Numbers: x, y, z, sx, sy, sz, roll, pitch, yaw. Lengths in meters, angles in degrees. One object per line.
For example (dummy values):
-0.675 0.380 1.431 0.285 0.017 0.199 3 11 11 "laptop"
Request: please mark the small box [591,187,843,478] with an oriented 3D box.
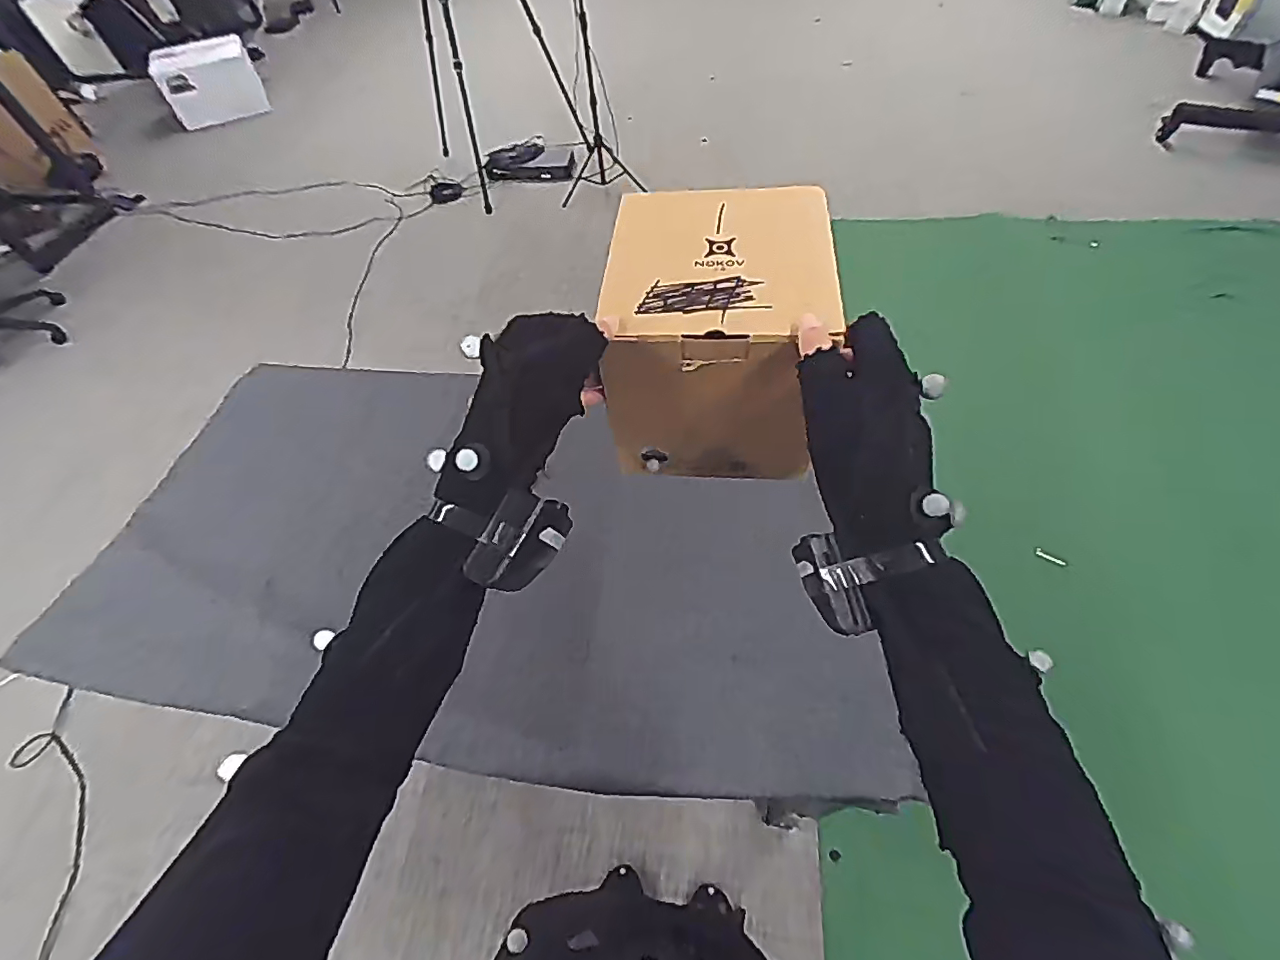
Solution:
0.065 -0.116 0.458 0.168 0.176 0.179 2 56 8 "small box"
